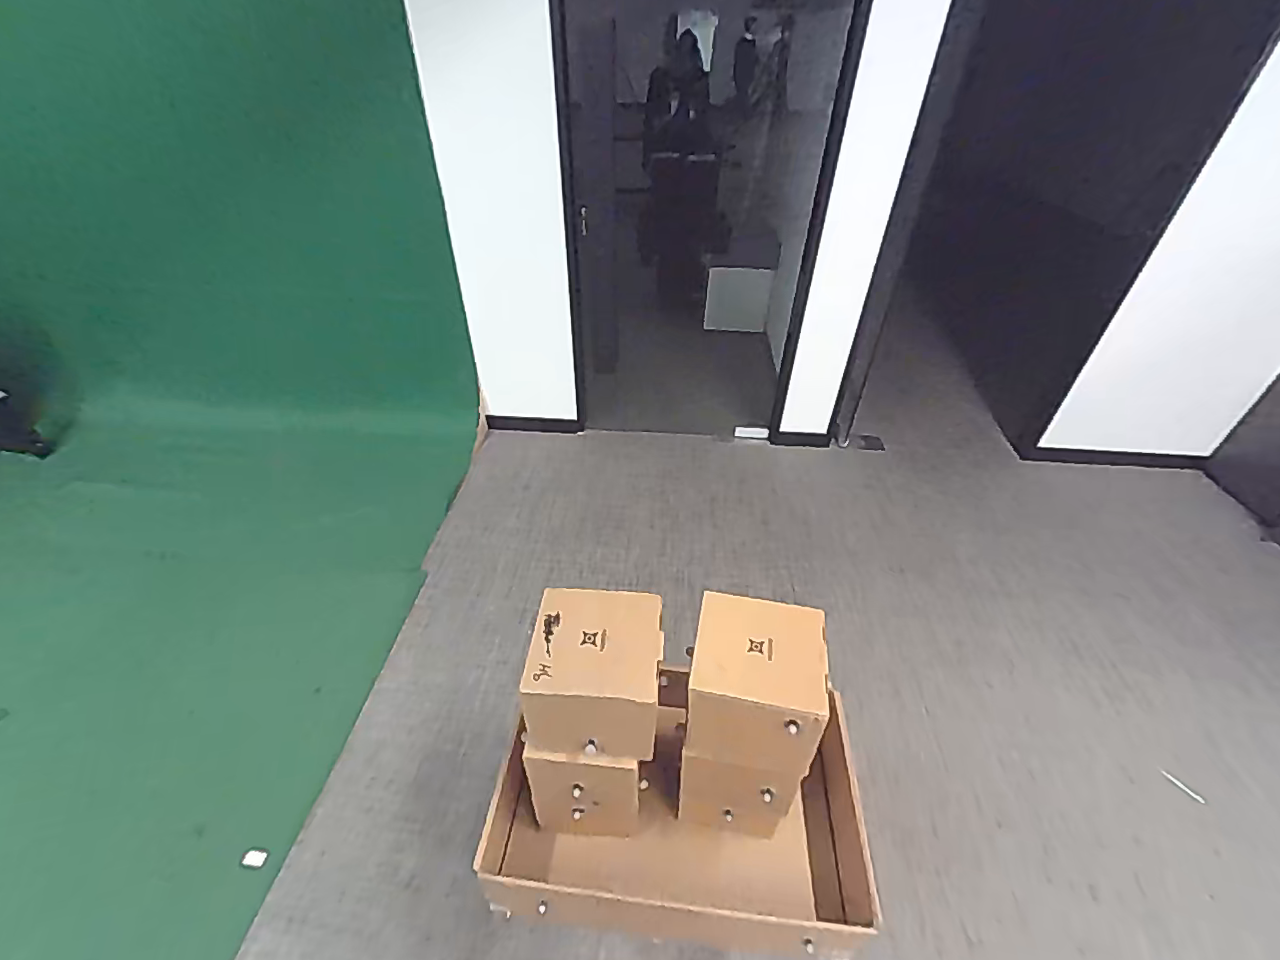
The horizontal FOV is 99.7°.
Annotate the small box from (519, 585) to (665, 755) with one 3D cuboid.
[{"bbox_3d":[-0.061,0.275,0.778,0.179,0.176,0.168,4,41,2],"label":"small box"}]
